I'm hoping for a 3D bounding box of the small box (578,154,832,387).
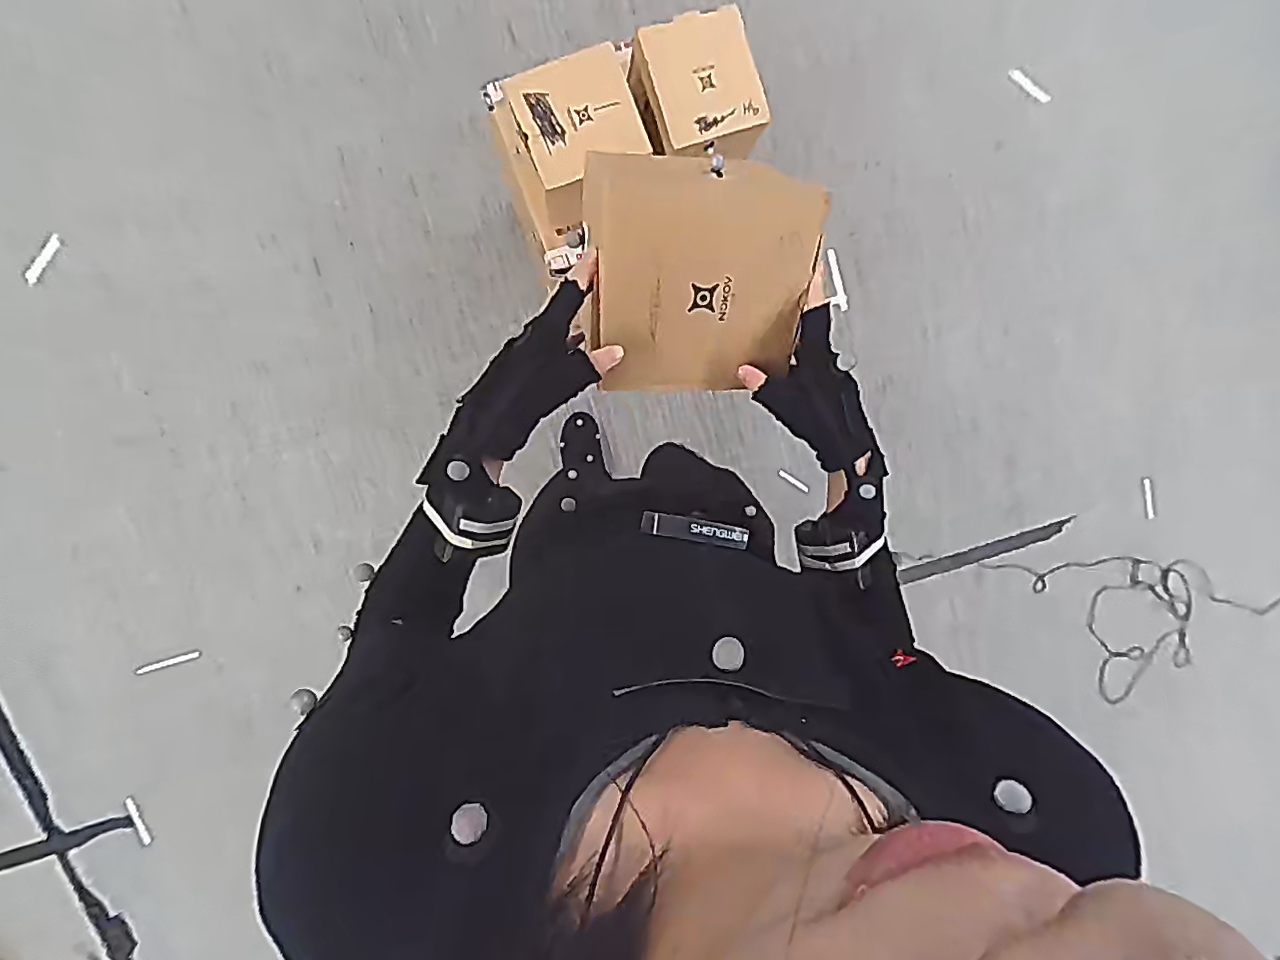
[{"bbox_3d":[0.039,-0.195,0.494,0.179,0.176,0.168,-3,124,-10],"label":"small box"}]

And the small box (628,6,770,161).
[{"bbox_3d":[0.083,-0.608,0.885,0.168,0.176,0.179,-20,97,-7],"label":"small box"}]

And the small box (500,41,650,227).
[{"bbox_3d":[-0.100,-0.536,0.866,0.179,0.176,0.168,-23,98,-4],"label":"small box"}]
